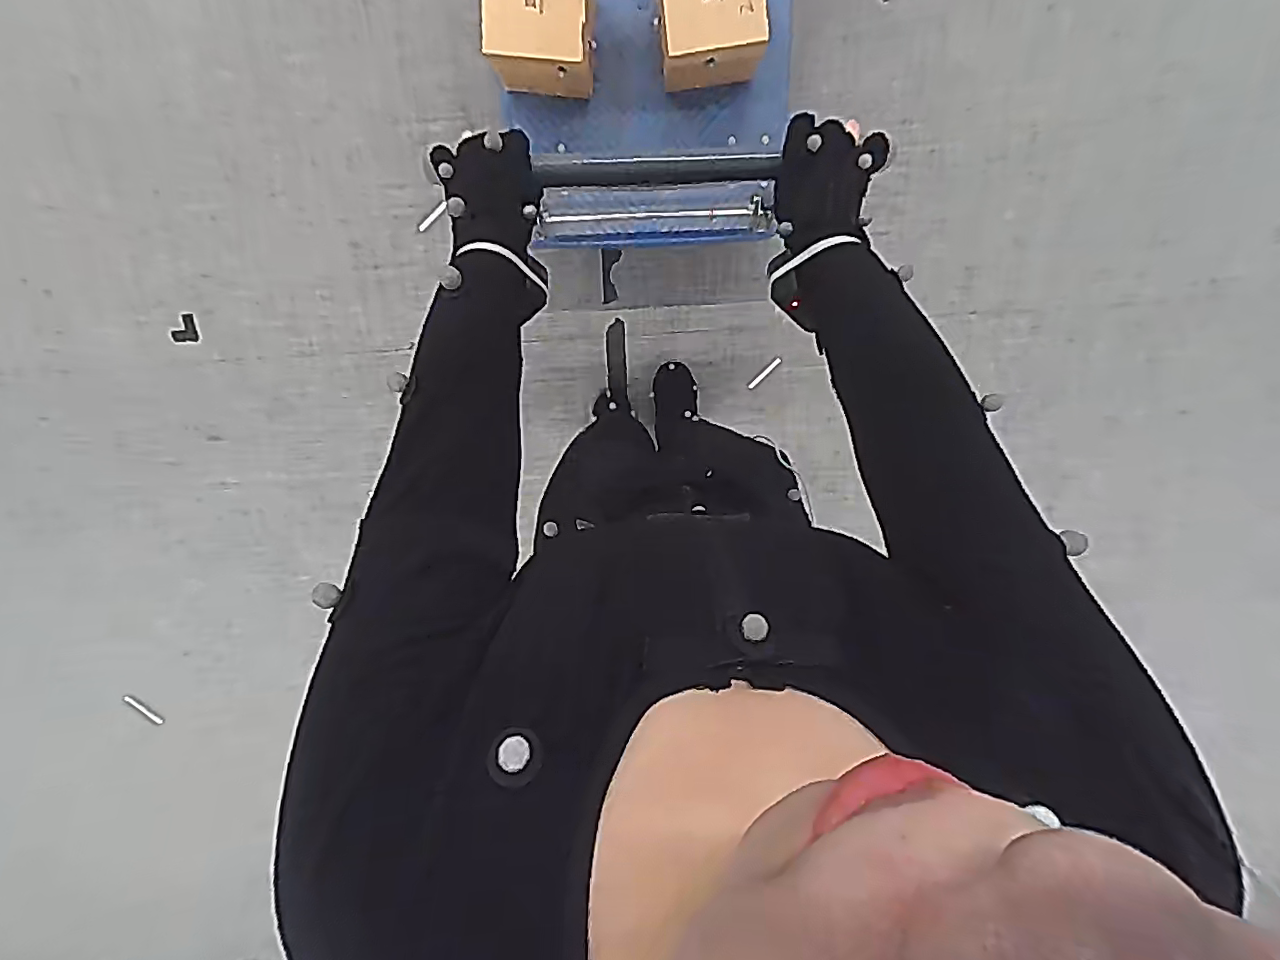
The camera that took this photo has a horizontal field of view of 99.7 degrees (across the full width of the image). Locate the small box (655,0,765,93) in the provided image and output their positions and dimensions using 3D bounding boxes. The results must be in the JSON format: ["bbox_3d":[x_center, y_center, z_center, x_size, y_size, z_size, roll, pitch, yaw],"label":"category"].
[{"bbox_3d":[0.119,-0.829,0.974,0.179,0.176,0.168,-7,108,3],"label":"small box"}]

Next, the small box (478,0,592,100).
[{"bbox_3d":[-0.185,-0.818,0.982,0.179,0.176,0.168,3,107,-2],"label":"small box"}]
